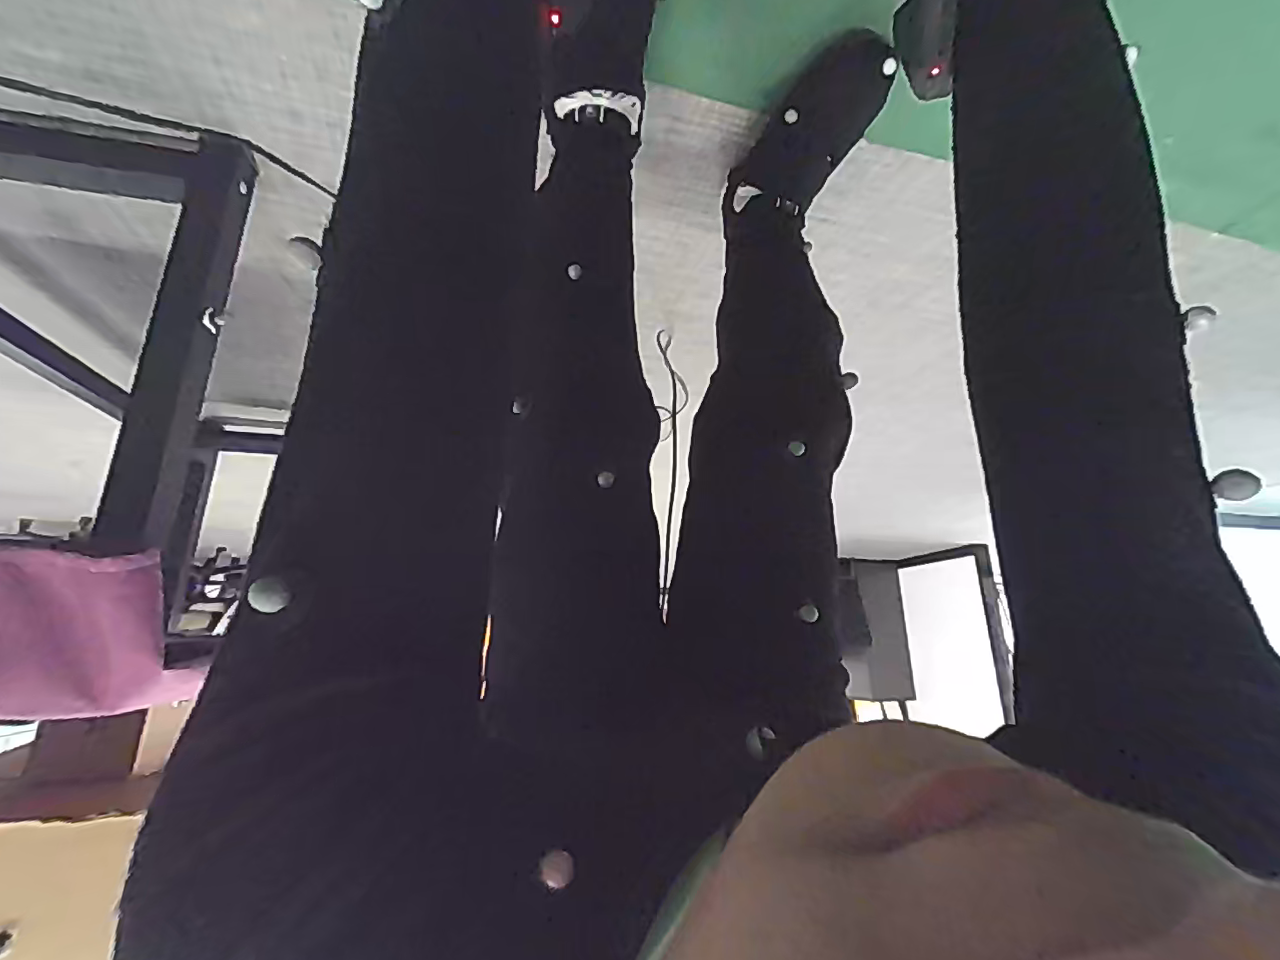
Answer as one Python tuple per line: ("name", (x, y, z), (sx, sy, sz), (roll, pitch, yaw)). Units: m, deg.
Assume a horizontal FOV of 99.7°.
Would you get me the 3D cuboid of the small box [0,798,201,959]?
("small box", (-0.747, 0.540, 0.729), (0.179, 0.176, 0.168), (3, 160, -12))
